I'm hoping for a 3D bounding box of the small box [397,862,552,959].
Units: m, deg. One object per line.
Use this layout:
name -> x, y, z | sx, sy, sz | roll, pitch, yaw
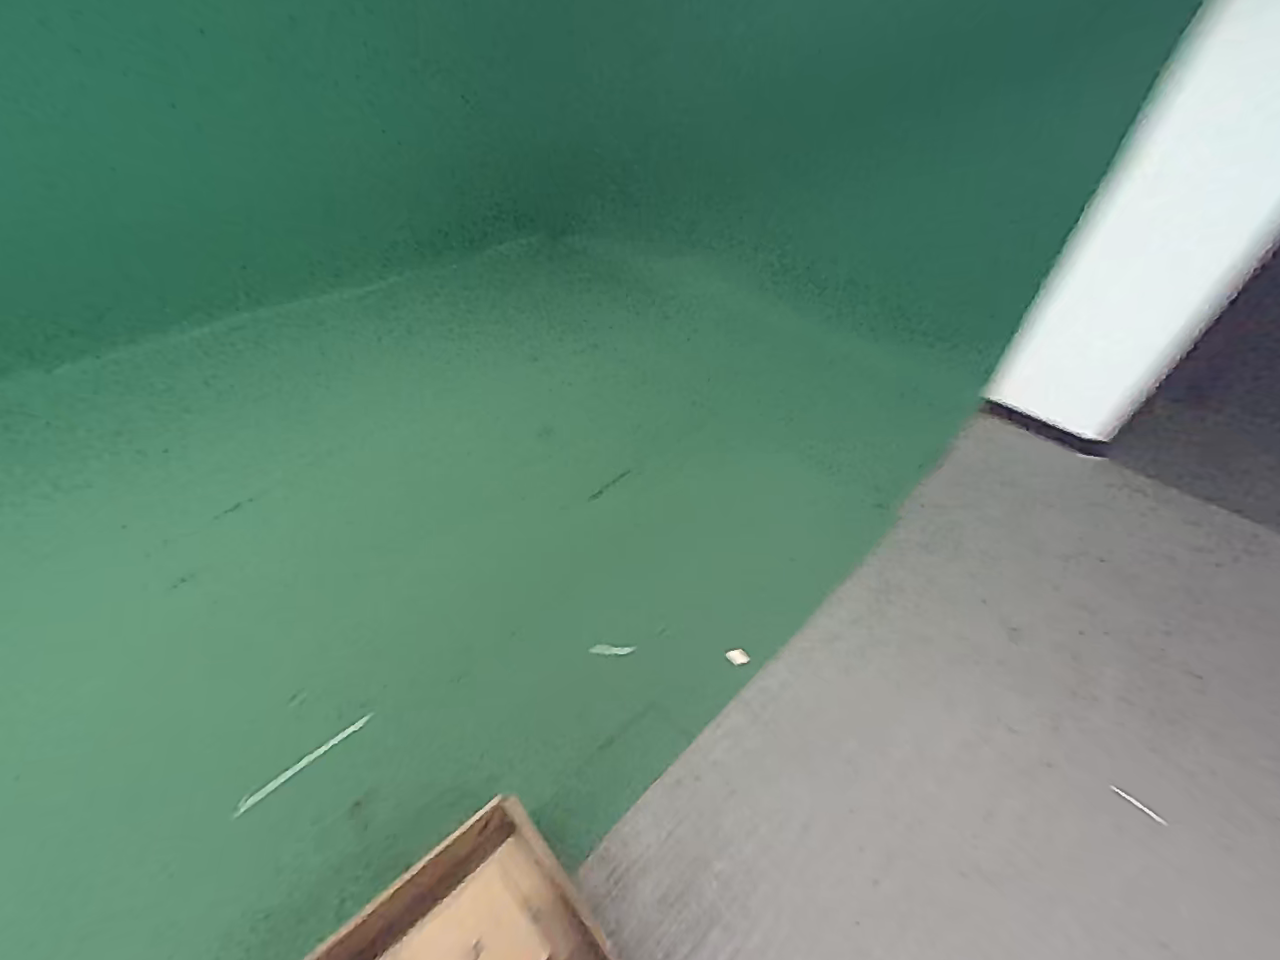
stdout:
small box -> -0.259, 0.783, 0.886 | 0.179, 0.176, 0.168 | -33, 57, -32
